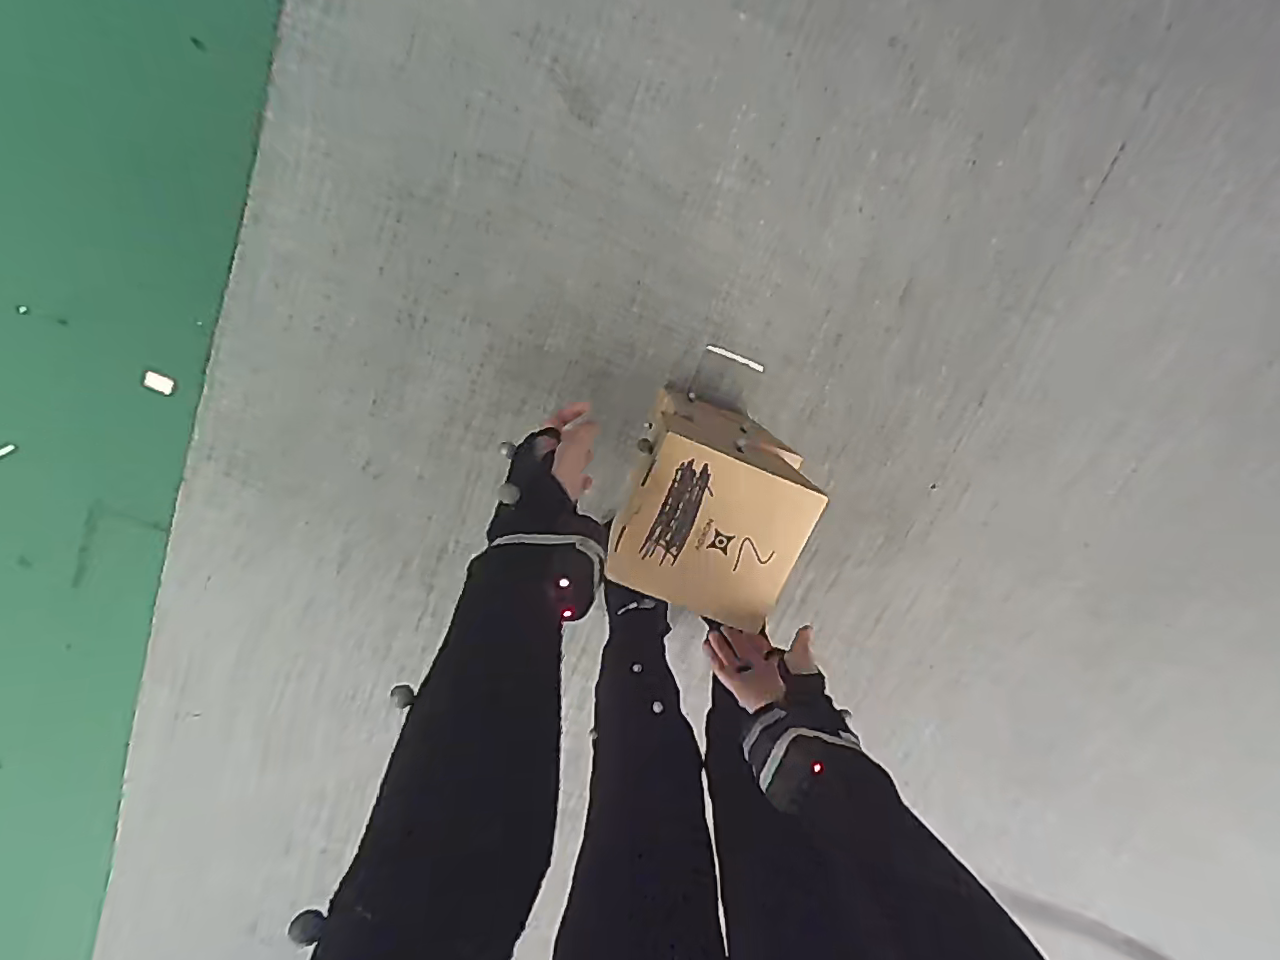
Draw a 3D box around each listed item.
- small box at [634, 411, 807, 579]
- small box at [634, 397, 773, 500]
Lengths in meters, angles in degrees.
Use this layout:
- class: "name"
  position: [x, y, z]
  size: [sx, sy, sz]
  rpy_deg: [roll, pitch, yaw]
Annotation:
- class: "small box"
  position: [0.102, 0.010, 0.765]
  size: [0.179, 0.176, 0.168]
  rpy_deg: [20, 104, -4]
- class: "small box"
  position: [0.100, -0.035, 0.924]
  size: [0.179, 0.176, 0.168]
  rpy_deg: [19, 104, -4]
